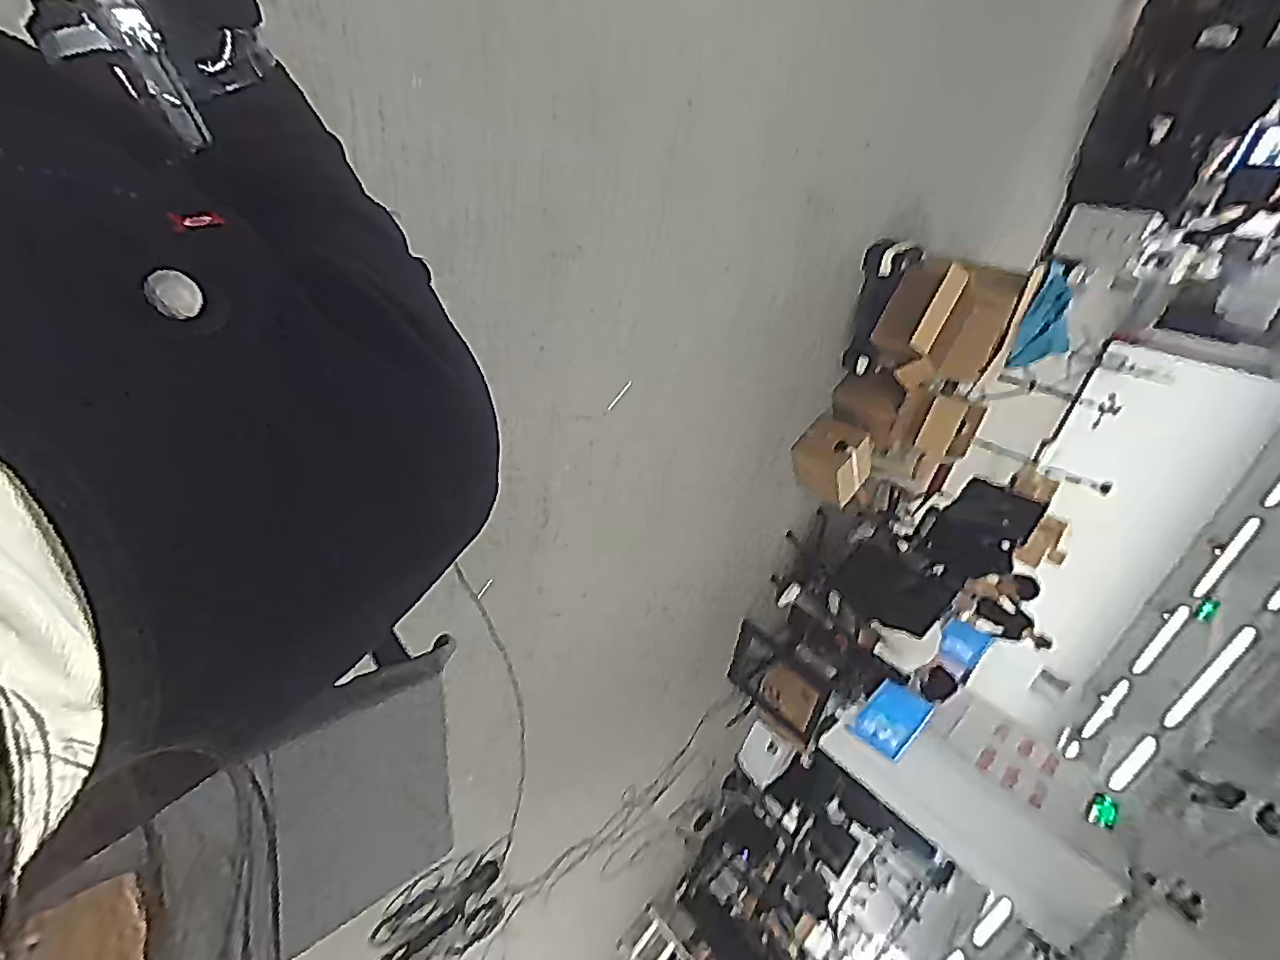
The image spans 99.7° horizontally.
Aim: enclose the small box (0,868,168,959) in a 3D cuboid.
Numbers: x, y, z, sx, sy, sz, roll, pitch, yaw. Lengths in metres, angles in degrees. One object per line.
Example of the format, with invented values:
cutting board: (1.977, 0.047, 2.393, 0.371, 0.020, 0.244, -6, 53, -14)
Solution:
small box: (-0.737, 0.668, 0.700, 0.179, 0.176, 0.168, -15, 127, -40)
